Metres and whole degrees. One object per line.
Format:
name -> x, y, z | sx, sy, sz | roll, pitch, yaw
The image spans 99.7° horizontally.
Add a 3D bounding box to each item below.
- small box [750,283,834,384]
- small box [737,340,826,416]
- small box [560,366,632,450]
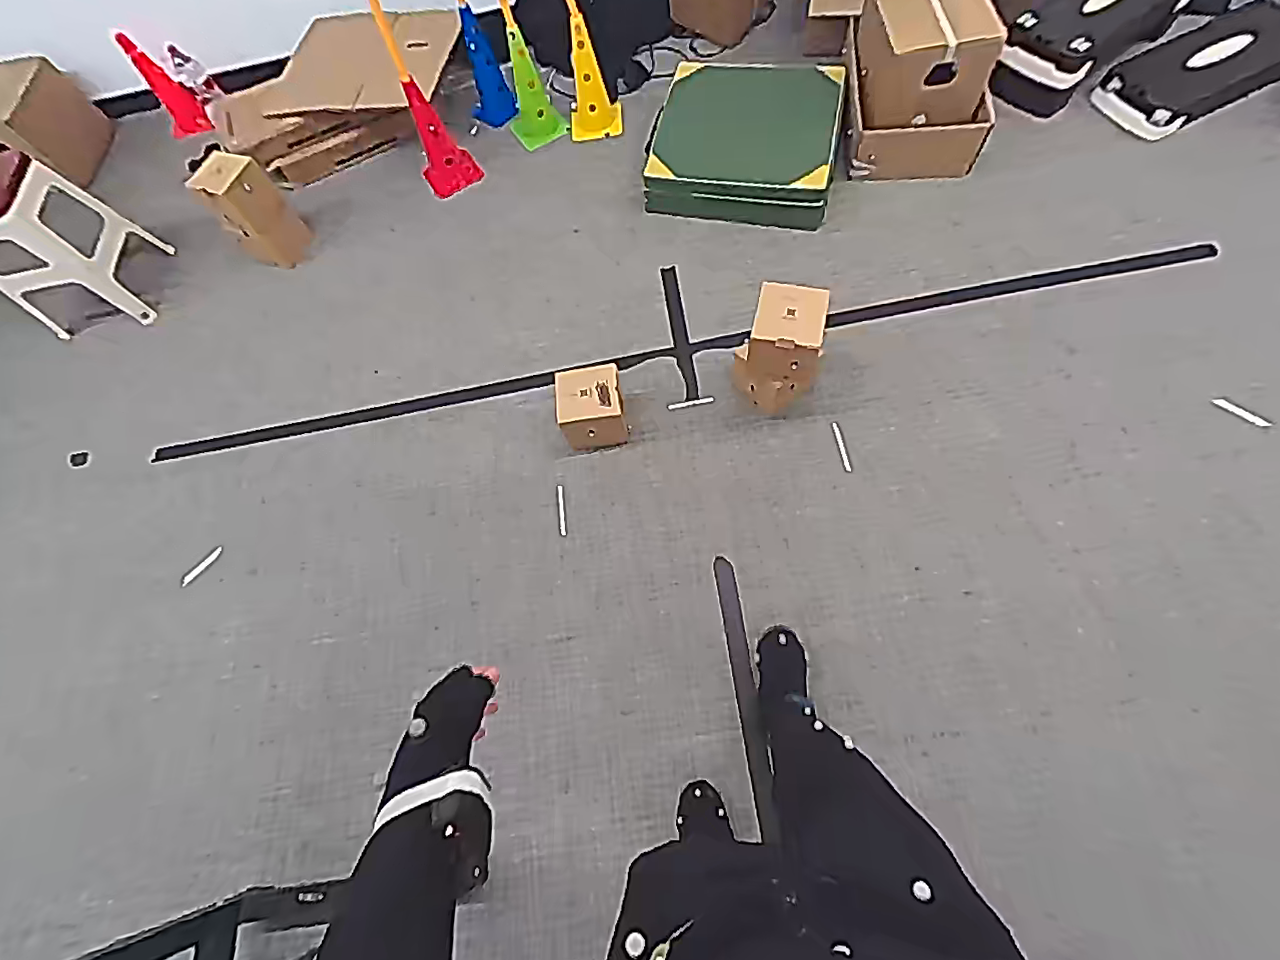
small box -> 0.379, -0.365, 1.368 | 0.168, 0.176, 0.179 | 12, 70, 11
small box -> 0.392, -0.314, 1.526 | 0.179, 0.176, 0.168 | -40, 68, -10
small box -> -0.120, -0.200, 1.549 | 0.179, 0.176, 0.168 | -8, 67, 6
